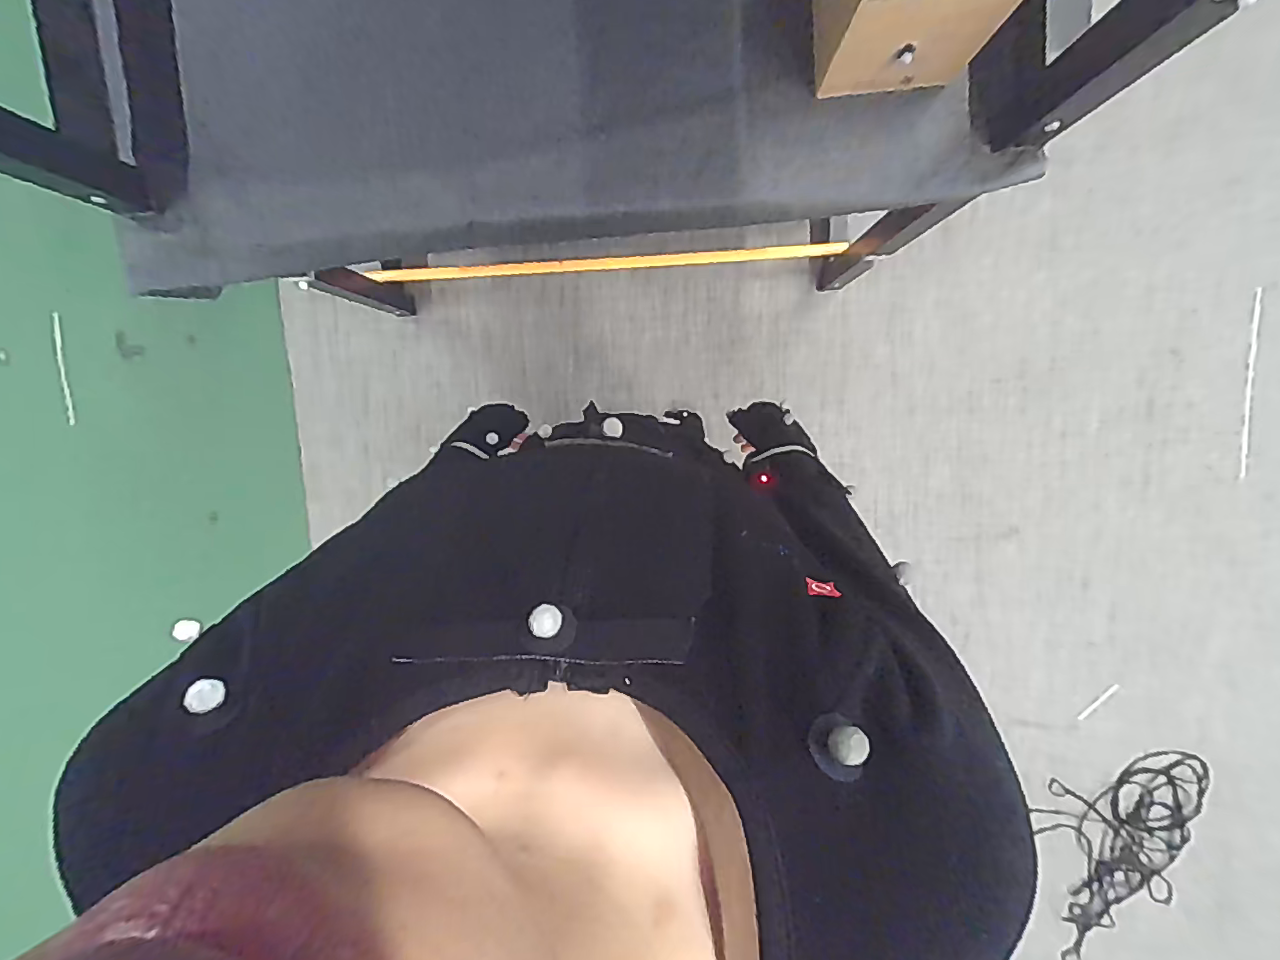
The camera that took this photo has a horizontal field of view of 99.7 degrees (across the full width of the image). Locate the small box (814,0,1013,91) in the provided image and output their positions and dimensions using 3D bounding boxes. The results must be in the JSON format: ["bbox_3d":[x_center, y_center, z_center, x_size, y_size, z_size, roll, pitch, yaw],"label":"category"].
[{"bbox_3d":[0.291,-0.552,0.580,0.168,0.176,0.179,-4,97,3],"label":"small box"}]
